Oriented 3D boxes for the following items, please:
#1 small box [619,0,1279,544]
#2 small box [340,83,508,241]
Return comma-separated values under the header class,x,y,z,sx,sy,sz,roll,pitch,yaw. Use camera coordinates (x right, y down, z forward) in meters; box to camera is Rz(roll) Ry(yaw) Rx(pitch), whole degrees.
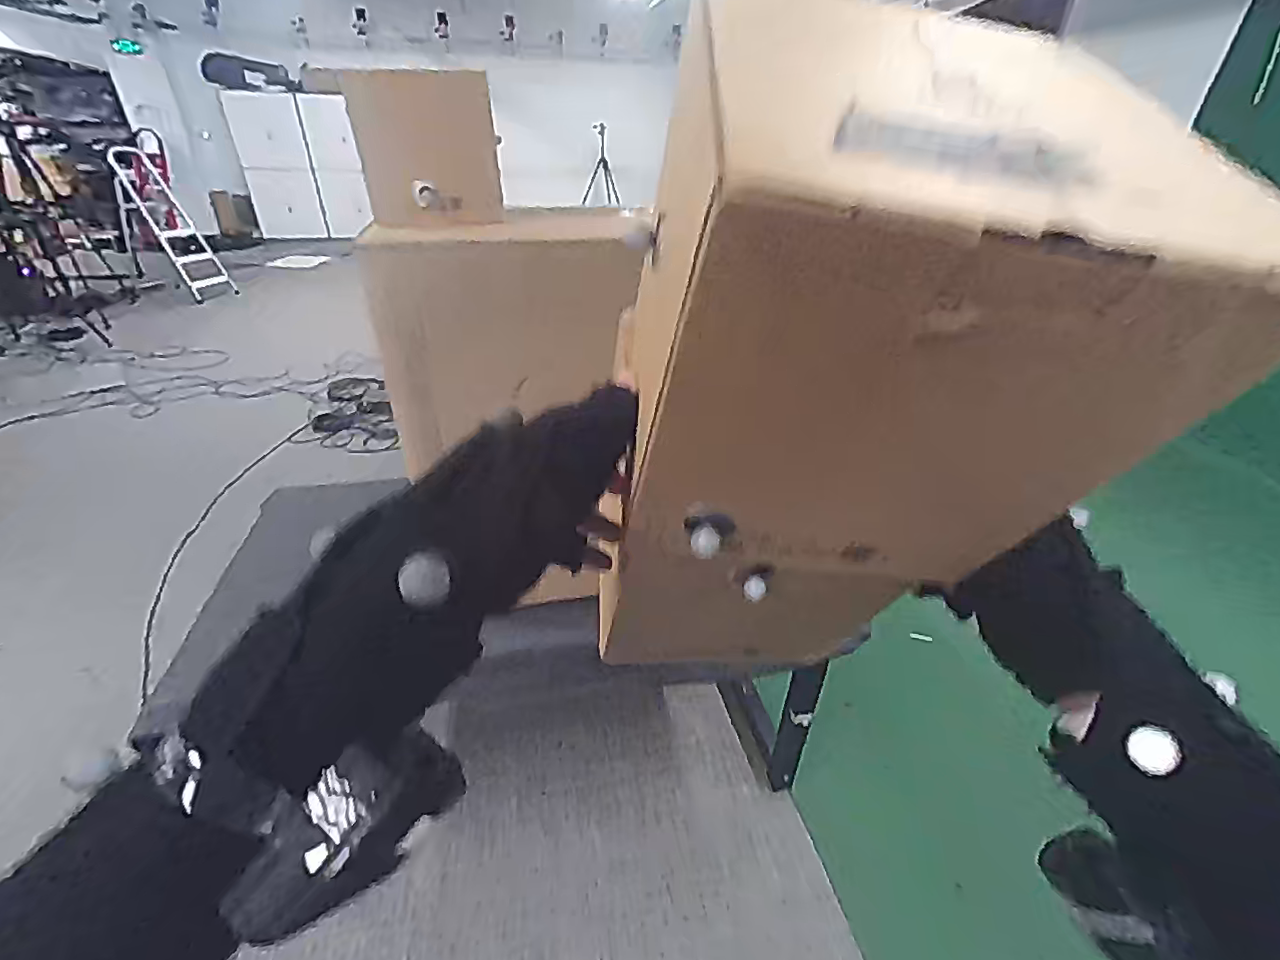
class,x,y,z,sx,sy,sz,roll,pitch,yaw
small box,0.082,-0.087,0.243,0.168,0.176,0.179,6,54,-5
small box,-0.280,-0.431,0.733,0.168,0.176,0.179,-11,37,-12
